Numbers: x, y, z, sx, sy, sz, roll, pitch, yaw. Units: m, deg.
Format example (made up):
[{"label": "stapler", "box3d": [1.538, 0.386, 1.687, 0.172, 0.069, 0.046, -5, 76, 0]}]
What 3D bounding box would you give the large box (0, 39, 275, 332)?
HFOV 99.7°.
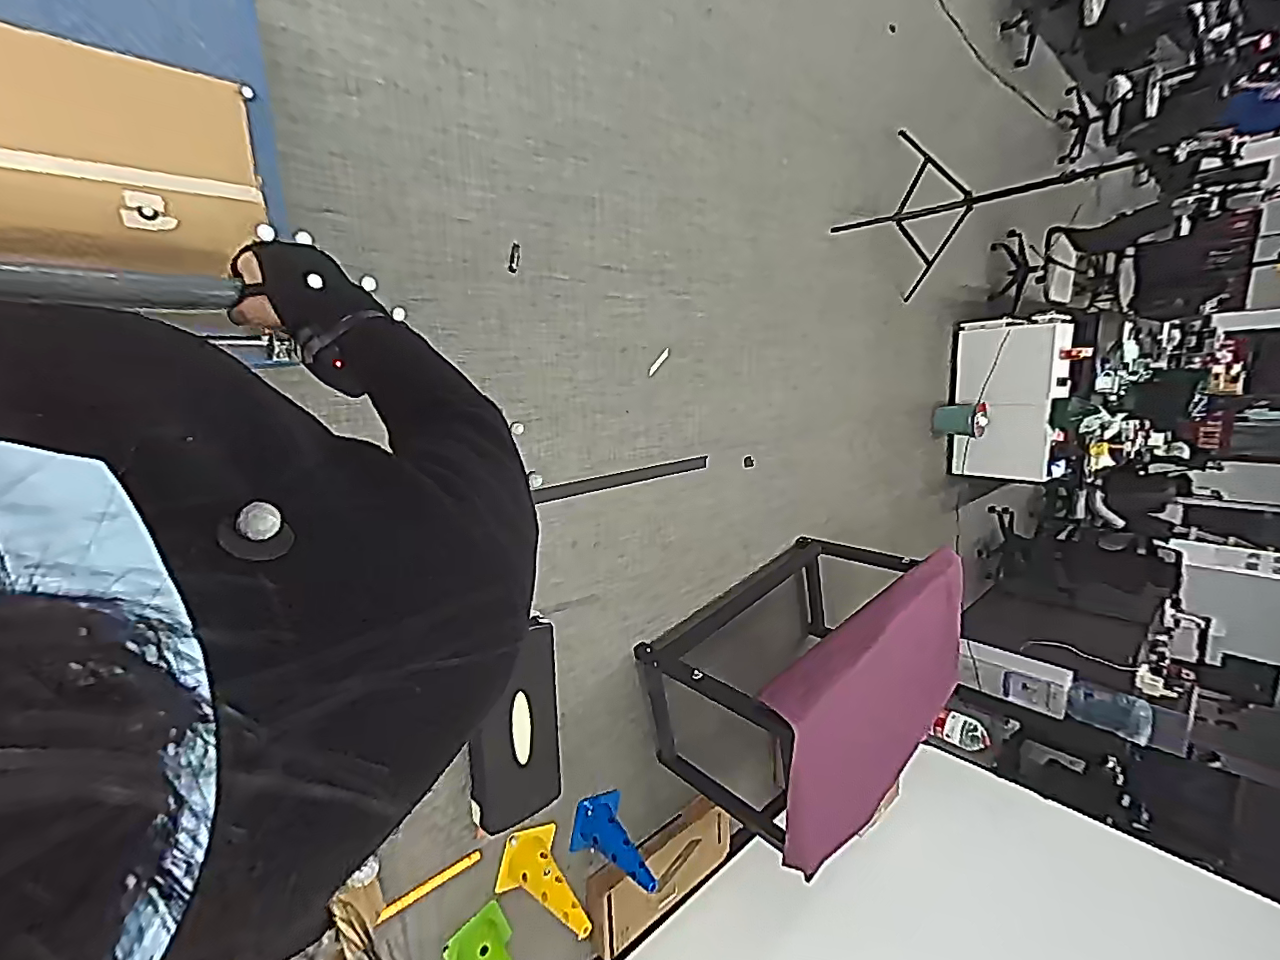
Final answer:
[{"label": "large box", "box3d": [-0.829, -0.398, 0.807, 0.408, 0.320, 0.320, -11, 104, -40]}]
